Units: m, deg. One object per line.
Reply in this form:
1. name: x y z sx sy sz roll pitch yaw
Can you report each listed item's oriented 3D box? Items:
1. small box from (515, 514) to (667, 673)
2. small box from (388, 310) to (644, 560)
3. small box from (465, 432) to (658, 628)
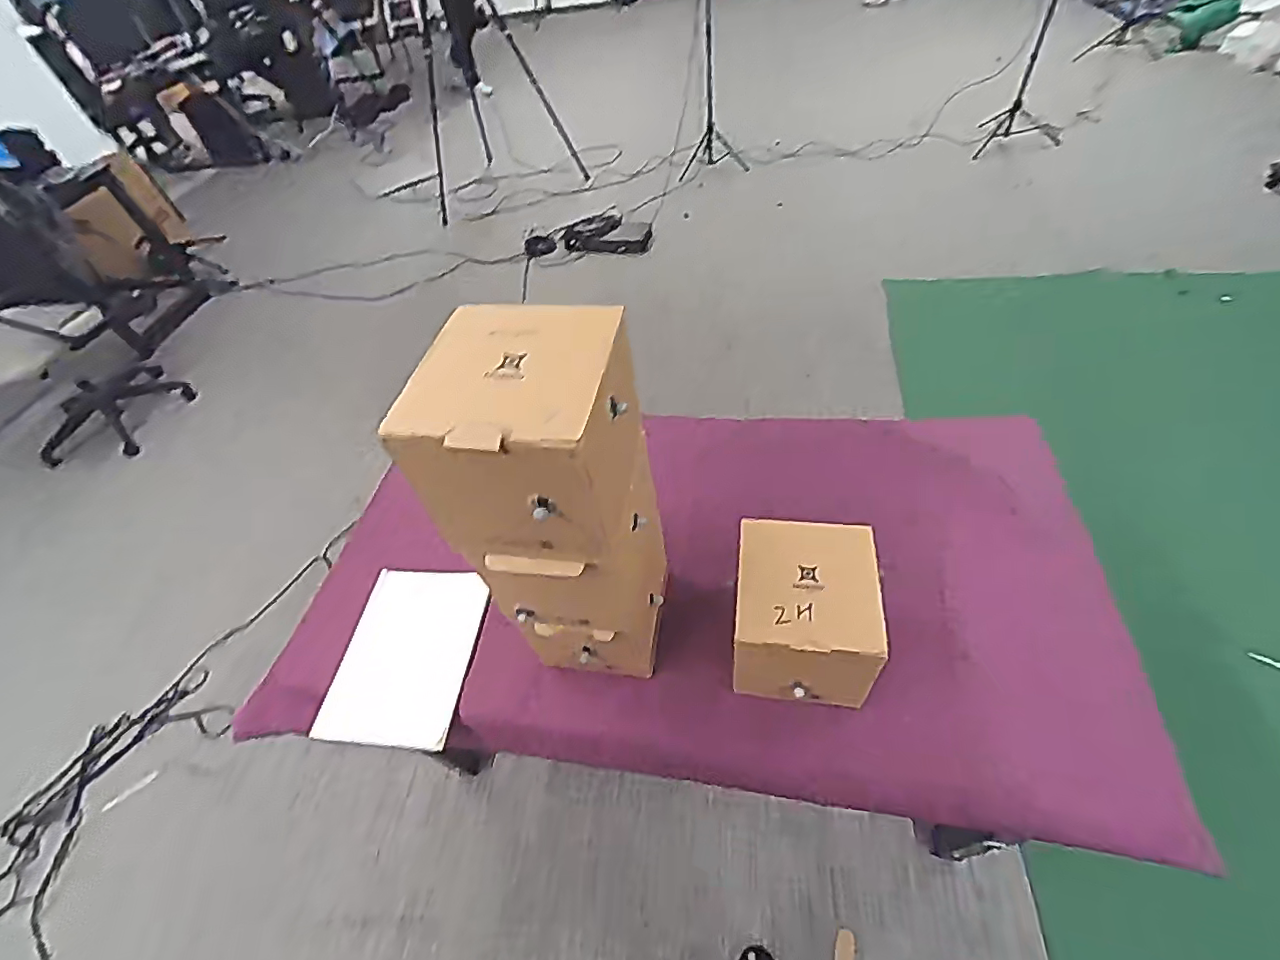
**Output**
1. small box: -0.055 0.159 0.775 0.168 0.176 0.179 4 52 11
2. small box: -0.095 -0.042 0.519 0.168 0.176 0.179 5 51 12
3. small box: -0.076 0.059 0.646 0.168 0.176 0.179 4 50 12
